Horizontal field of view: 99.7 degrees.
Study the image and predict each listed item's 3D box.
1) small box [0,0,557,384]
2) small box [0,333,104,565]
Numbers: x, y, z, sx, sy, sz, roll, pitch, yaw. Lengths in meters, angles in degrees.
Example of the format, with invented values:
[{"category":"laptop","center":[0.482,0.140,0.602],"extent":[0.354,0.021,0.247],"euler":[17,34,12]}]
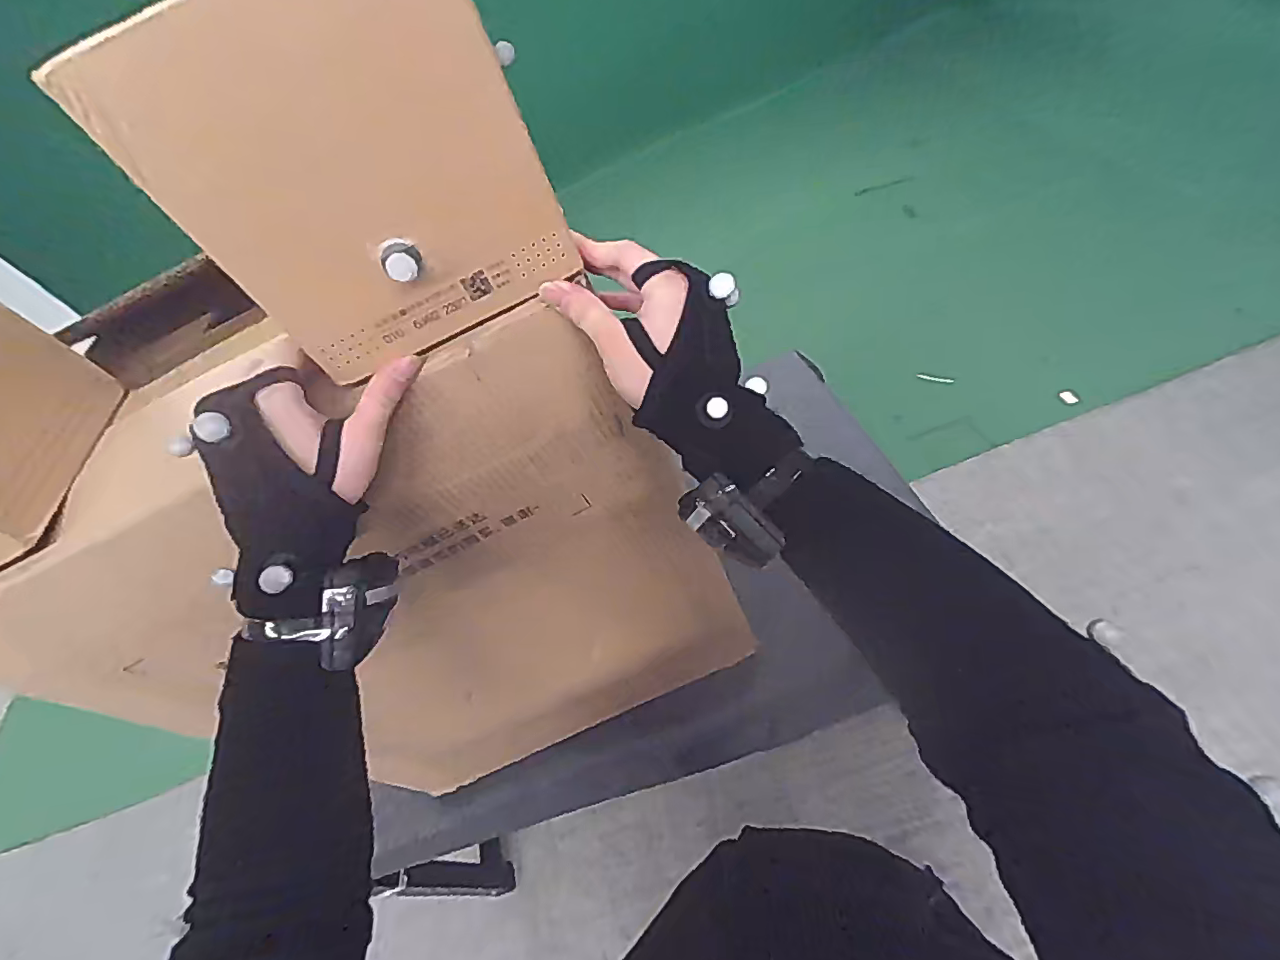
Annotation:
[{"category":"small box","center":[-0.167,-0.189,0.312],"extent":[0.168,0.176,0.179],"euler":[-26,50,3]},{"category":"small box","center":[-0.508,-0.021,0.339],"extent":[0.168,0.176,0.179],"euler":[-27,49,4]}]
